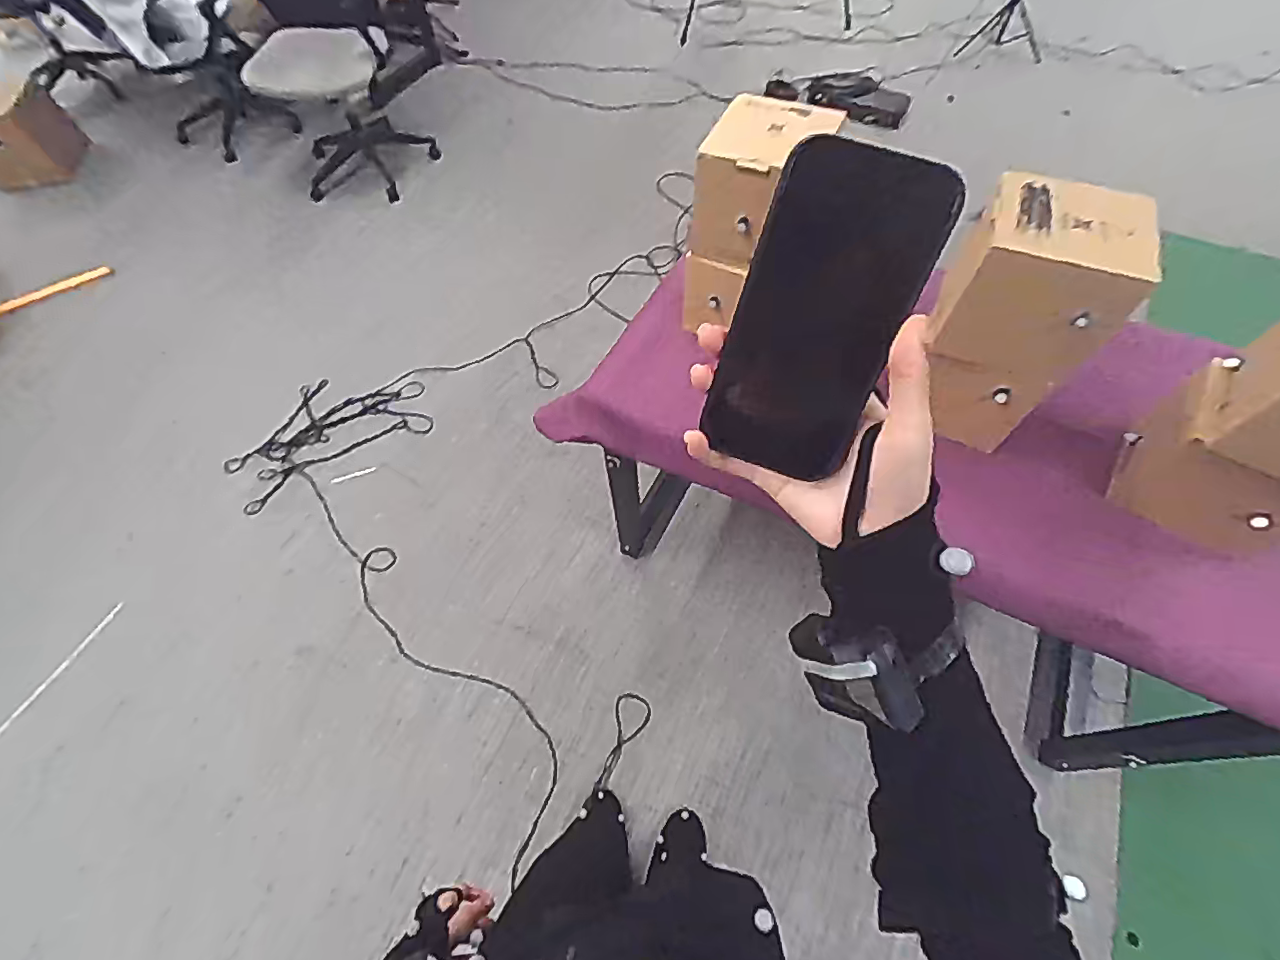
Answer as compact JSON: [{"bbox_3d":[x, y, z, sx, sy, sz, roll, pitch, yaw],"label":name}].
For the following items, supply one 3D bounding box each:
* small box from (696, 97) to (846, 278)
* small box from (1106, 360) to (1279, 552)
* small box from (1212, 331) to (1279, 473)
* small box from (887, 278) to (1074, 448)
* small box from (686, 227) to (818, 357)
[{"bbox_3d":[0.191,-0.442,0.830,0.168,0.176,0.179,22,63,14],"label":"small box"},{"bbox_3d":[0.808,-0.024,0.743,0.179,0.176,0.168,31,65,20],"label":"small box"},{"bbox_3d":[0.802,-0.093,0.594,0.179,0.176,0.168,31,65,19],"label":"small box"},{"bbox_3d":[0.521,-0.175,0.845,0.179,0.176,0.168,25,63,17],"label":"small box"},{"bbox_3d":[0.193,-0.351,0.967,0.168,0.176,0.179,26,63,17],"label":"small box"}]
